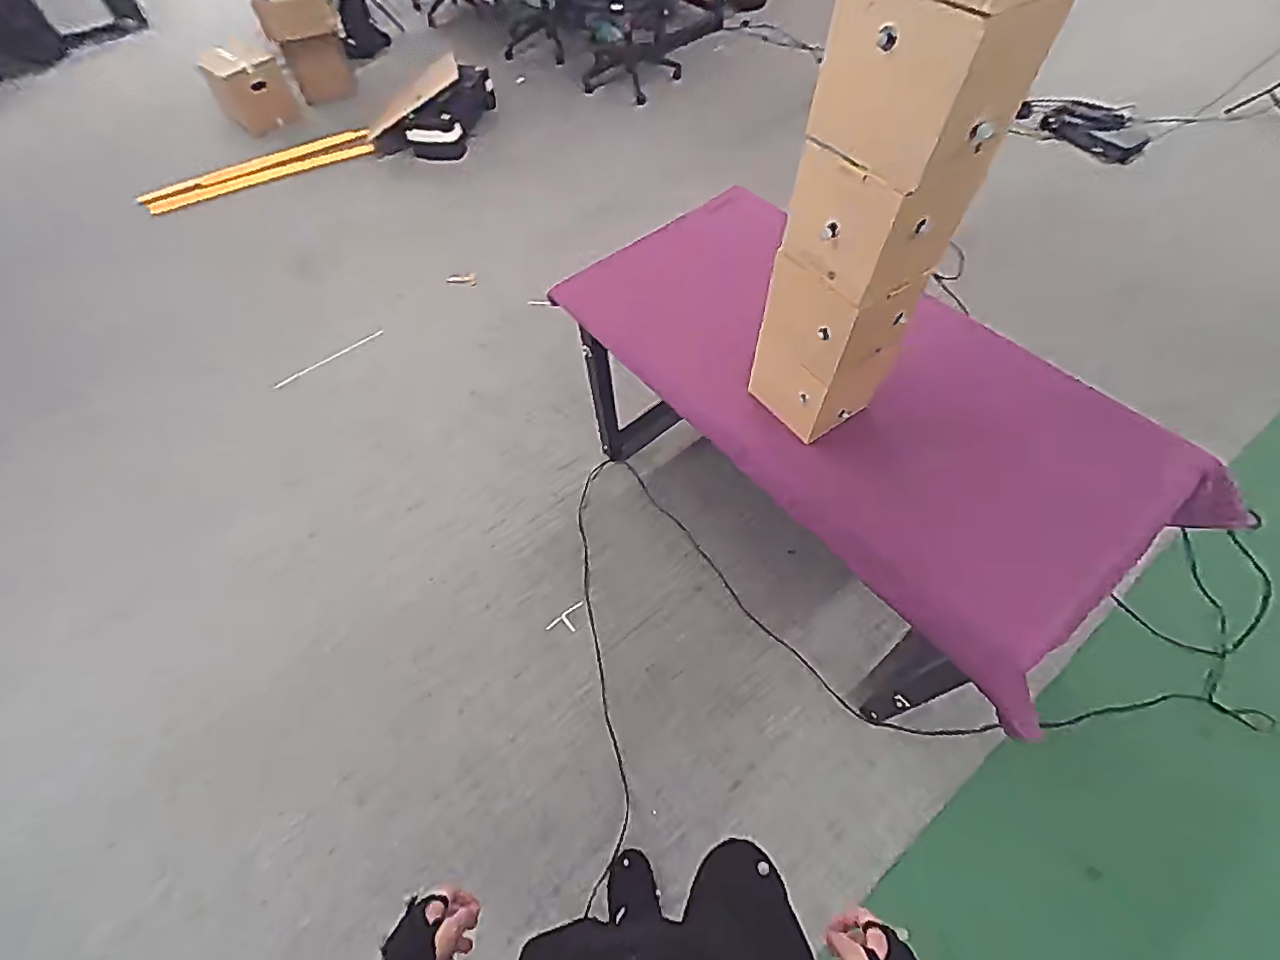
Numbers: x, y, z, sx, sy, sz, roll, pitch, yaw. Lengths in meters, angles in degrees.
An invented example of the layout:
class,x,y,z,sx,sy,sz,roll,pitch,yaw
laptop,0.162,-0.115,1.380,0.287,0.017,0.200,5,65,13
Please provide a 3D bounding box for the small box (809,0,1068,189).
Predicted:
class,x,y,z,sx,sy,sz,roll,pitch,yaw
small box,0.324,-0.471,0.619,0.168,0.176,0.179,-33,64,-17

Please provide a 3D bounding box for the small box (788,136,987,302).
class,x,y,z,sx,sy,sz,roll,pitch,yaw
small box,0.328,-0.384,0.758,0.179,0.176,0.168,-32,63,-16

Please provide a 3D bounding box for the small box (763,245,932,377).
class,x,y,z,sx,sy,sz,roll,pitch,yaw
small box,0.329,-0.295,0.895,0.168,0.176,0.179,-31,62,-16
